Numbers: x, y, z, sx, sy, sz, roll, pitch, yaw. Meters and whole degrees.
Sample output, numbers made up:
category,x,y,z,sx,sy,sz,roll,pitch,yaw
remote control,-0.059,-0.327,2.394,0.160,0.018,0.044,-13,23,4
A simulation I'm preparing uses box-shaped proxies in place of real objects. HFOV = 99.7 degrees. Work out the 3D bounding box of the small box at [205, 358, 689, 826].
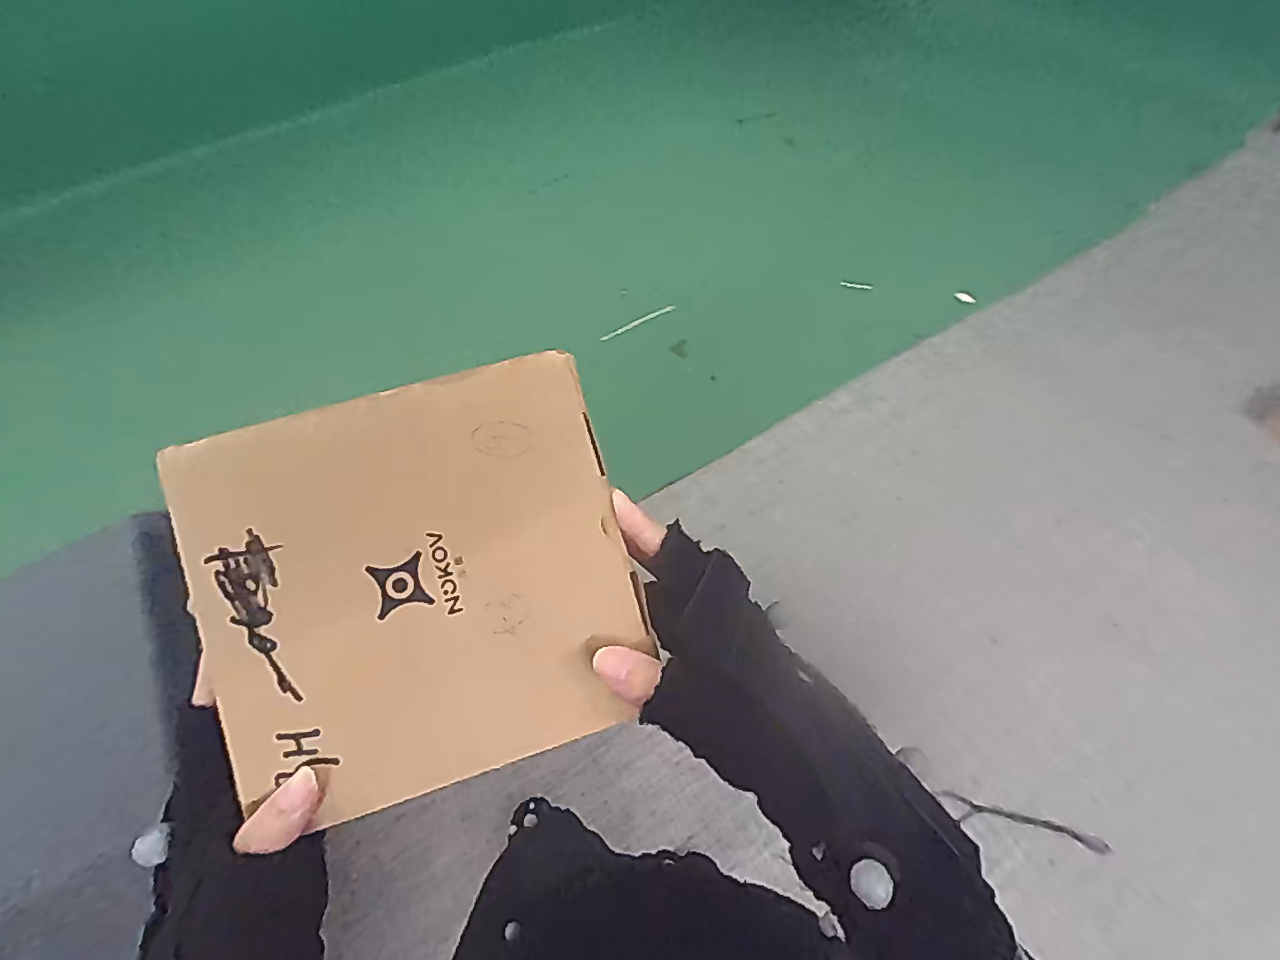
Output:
category,x,y,z,sx,sy,sz,roll,pitch,yaw
small box,-0.090,0.048,0.312,0.179,0.176,0.168,-14,85,-8
